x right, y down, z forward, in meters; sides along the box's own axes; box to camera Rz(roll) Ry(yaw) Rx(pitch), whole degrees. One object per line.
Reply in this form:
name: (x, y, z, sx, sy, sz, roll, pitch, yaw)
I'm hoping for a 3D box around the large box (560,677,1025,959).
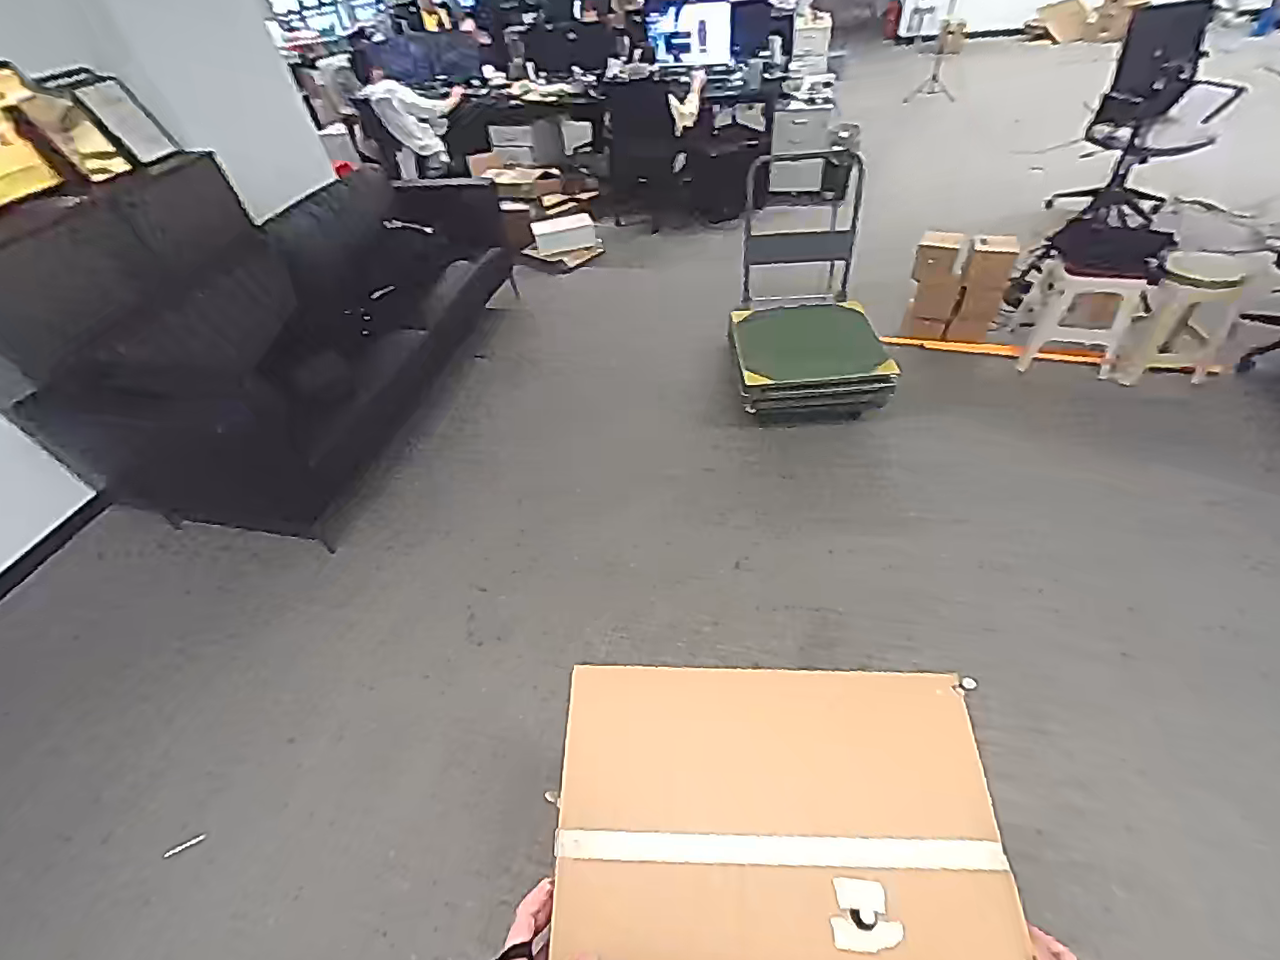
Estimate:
large box: (0.130, 0.423, 0.625, 0.408, 0.320, 0.320, 1, 60, 1)
